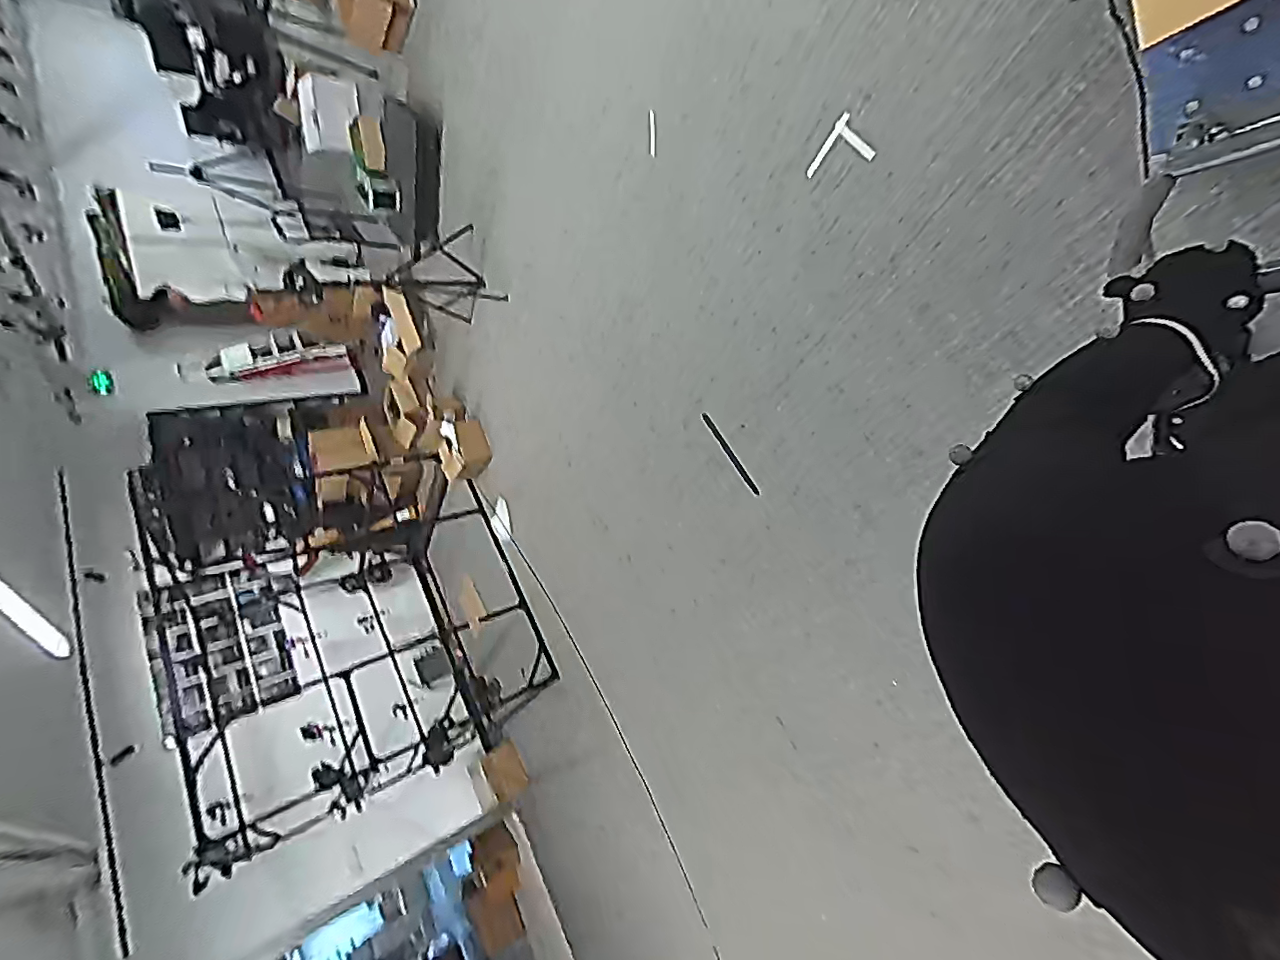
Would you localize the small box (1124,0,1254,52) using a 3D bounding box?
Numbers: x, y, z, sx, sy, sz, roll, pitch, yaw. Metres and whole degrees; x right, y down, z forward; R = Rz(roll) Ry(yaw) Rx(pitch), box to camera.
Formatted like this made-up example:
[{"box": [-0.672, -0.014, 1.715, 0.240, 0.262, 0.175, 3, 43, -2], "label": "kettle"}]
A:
[{"box": [0.802, -0.739, 0.751, 0.179, 0.176, 0.168, -5, 115, 53], "label": "small box"}]
